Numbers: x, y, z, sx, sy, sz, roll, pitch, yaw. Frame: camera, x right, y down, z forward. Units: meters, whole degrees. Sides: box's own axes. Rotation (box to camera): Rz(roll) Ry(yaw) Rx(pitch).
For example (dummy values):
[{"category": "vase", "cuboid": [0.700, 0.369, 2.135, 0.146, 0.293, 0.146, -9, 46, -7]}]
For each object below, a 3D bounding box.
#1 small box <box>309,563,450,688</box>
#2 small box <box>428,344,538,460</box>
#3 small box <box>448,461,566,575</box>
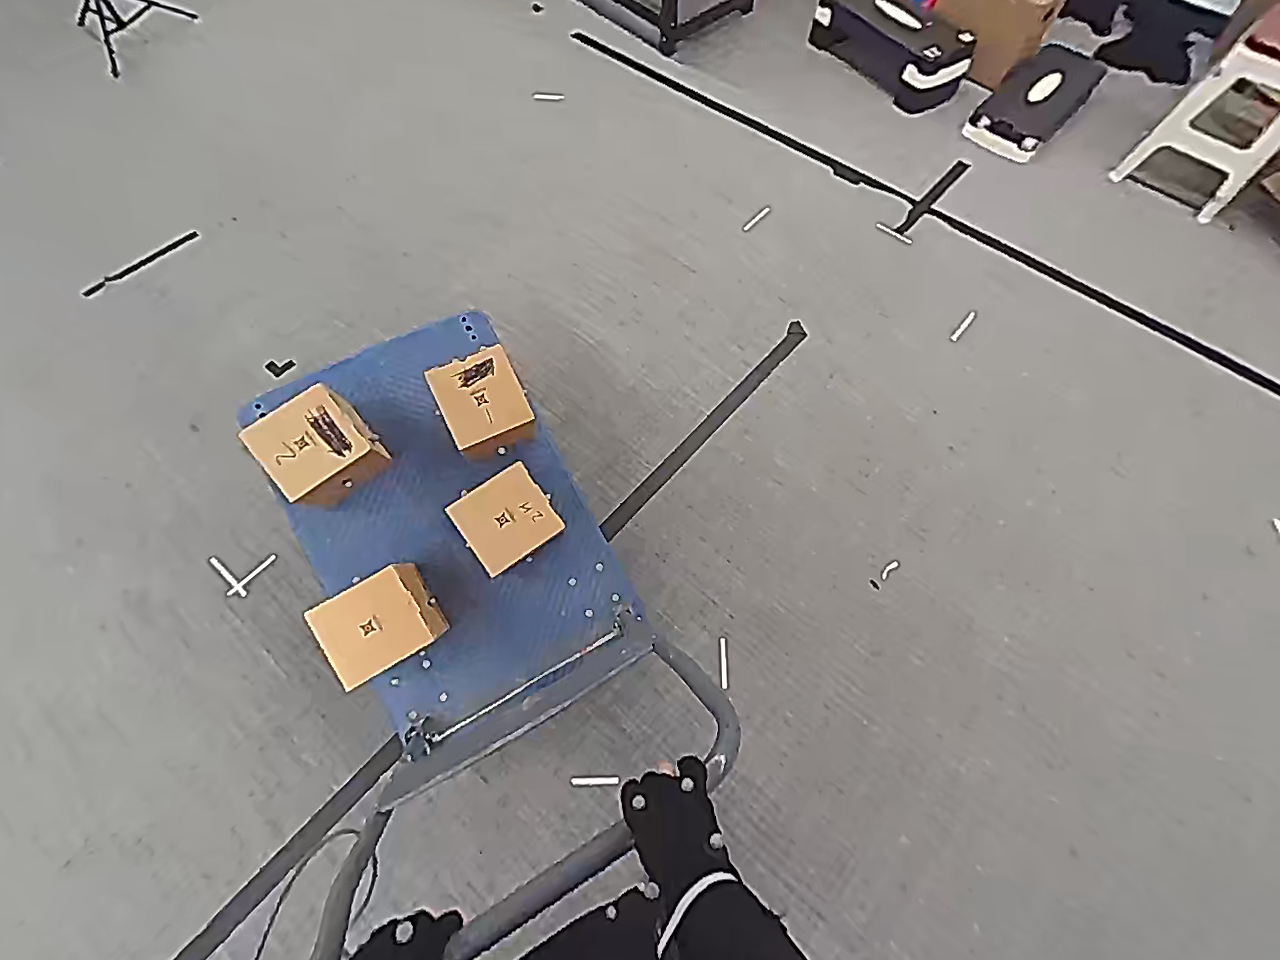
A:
[{"category": "small box", "cuboid": [-0.505, 0.281, 1.077, 0.179, 0.176, 0.168, -30, 88, -14]}, {"category": "small box", "cuboid": [-0.331, -0.160, 1.166, 0.168, 0.176, 0.179, -25, 88, -12]}, {"category": "small box", "cuboid": [-0.272, 0.084, 1.142, 0.179, 0.176, 0.168, -35, 89, -12]}]
